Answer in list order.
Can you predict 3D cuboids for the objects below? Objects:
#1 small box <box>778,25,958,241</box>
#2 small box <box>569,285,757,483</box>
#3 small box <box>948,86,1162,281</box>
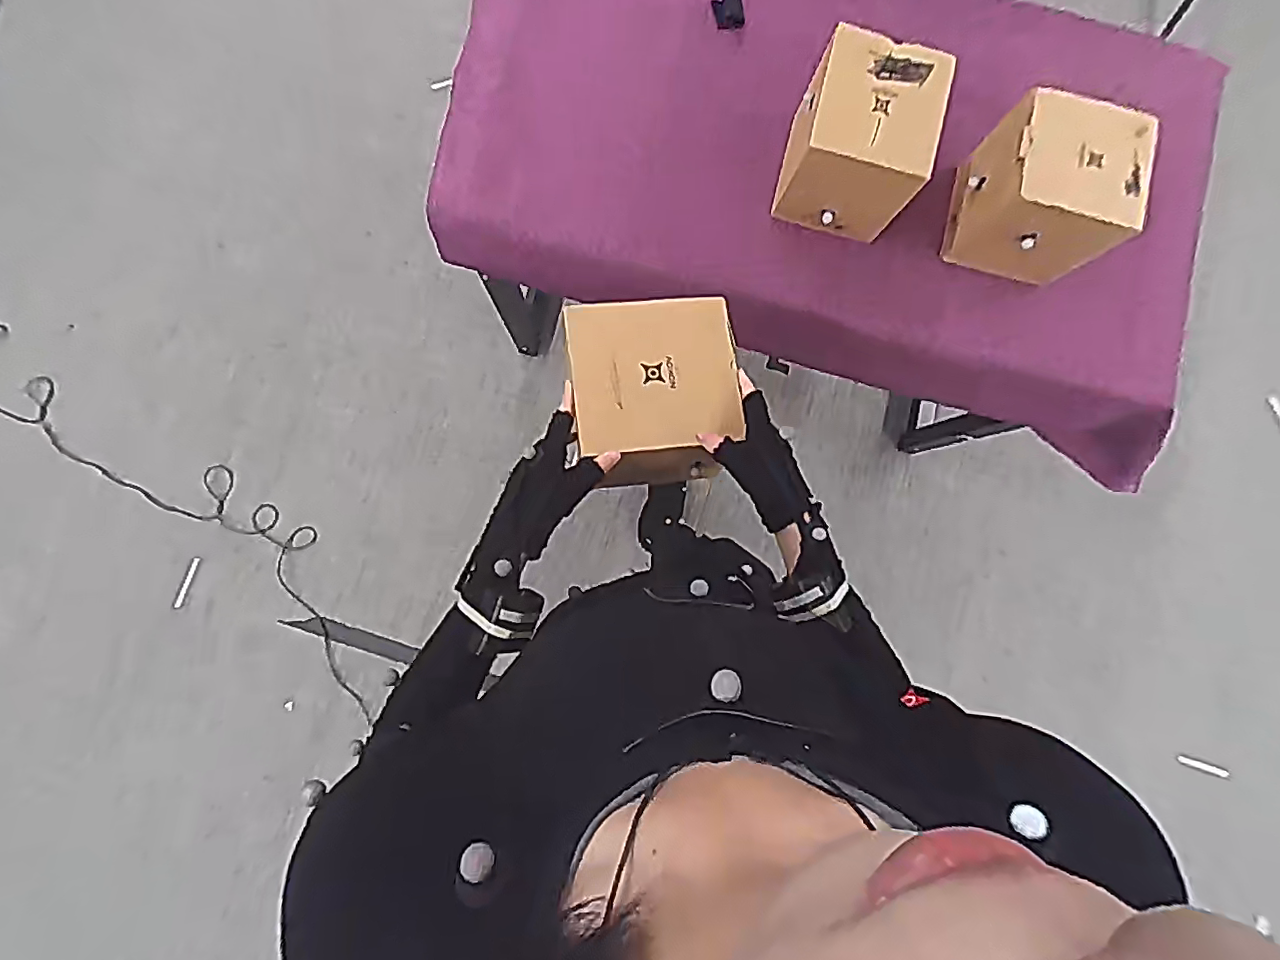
[{"bbox_3d":[0.313,-0.483,0.777,0.168,0.176,0.179,15,85,-1],"label":"small box"},{"bbox_3d":[0.014,-0.101,0.624,0.179,0.176,0.168,-7,77,-7],"label":"small box"},{"bbox_3d":[0.586,-0.414,0.785,0.179,0.176,0.168,14,84,-1],"label":"small box"}]
